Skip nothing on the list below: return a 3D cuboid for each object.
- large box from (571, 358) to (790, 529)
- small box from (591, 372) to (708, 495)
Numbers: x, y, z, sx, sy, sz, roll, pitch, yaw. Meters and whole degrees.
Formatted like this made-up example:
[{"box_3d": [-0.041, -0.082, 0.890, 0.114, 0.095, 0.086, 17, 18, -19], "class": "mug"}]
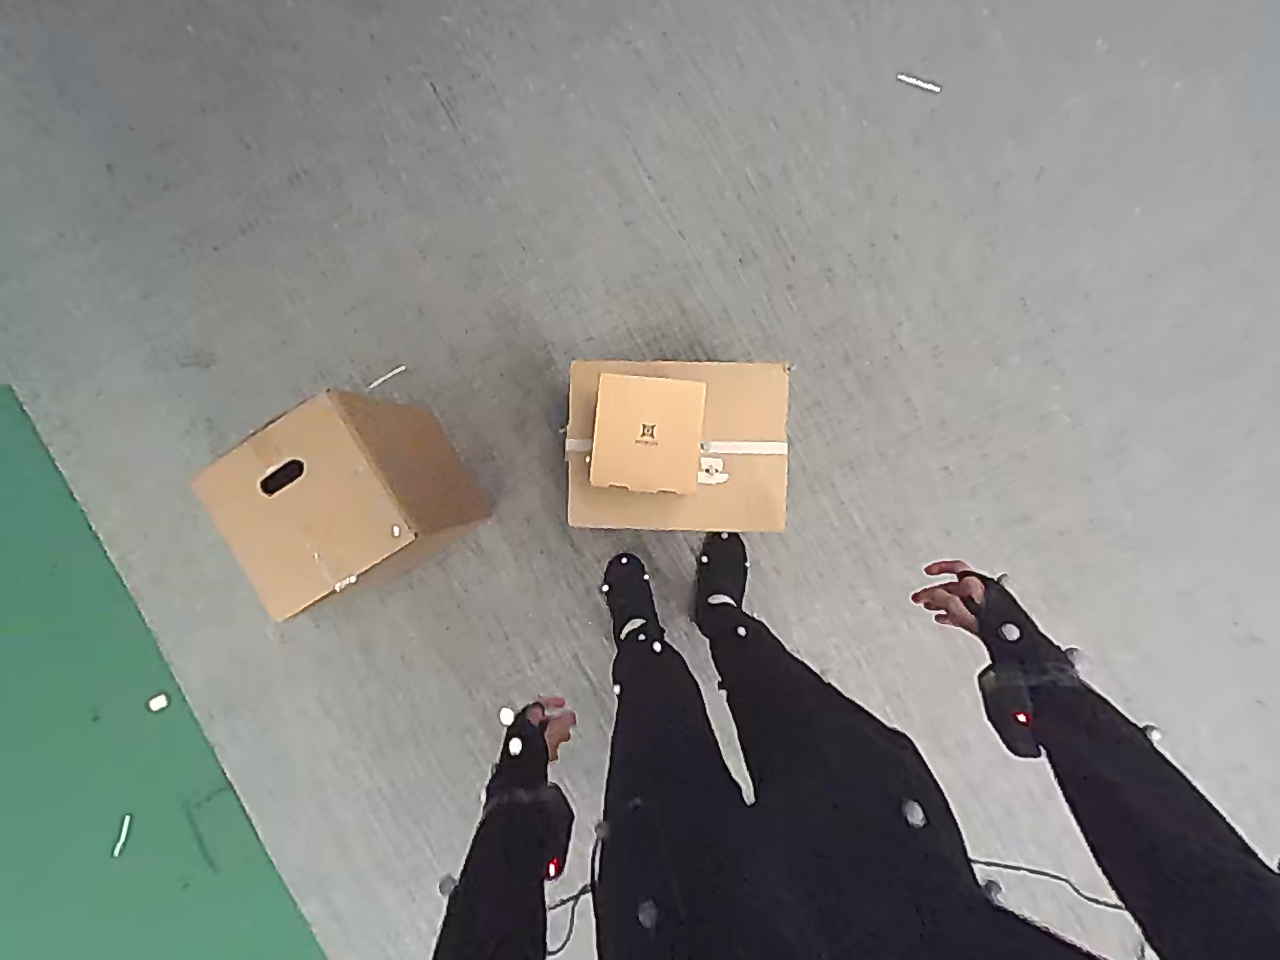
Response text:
[{"box_3d": [0.078, -0.068, 1.134, 0.408, 0.320, 0.320, 1, 92, 2], "class": "large box"}, {"box_3d": [0.018, -0.071, 0.896, 0.168, 0.176, 0.179, 5, 91, 4], "class": "small box"}]
